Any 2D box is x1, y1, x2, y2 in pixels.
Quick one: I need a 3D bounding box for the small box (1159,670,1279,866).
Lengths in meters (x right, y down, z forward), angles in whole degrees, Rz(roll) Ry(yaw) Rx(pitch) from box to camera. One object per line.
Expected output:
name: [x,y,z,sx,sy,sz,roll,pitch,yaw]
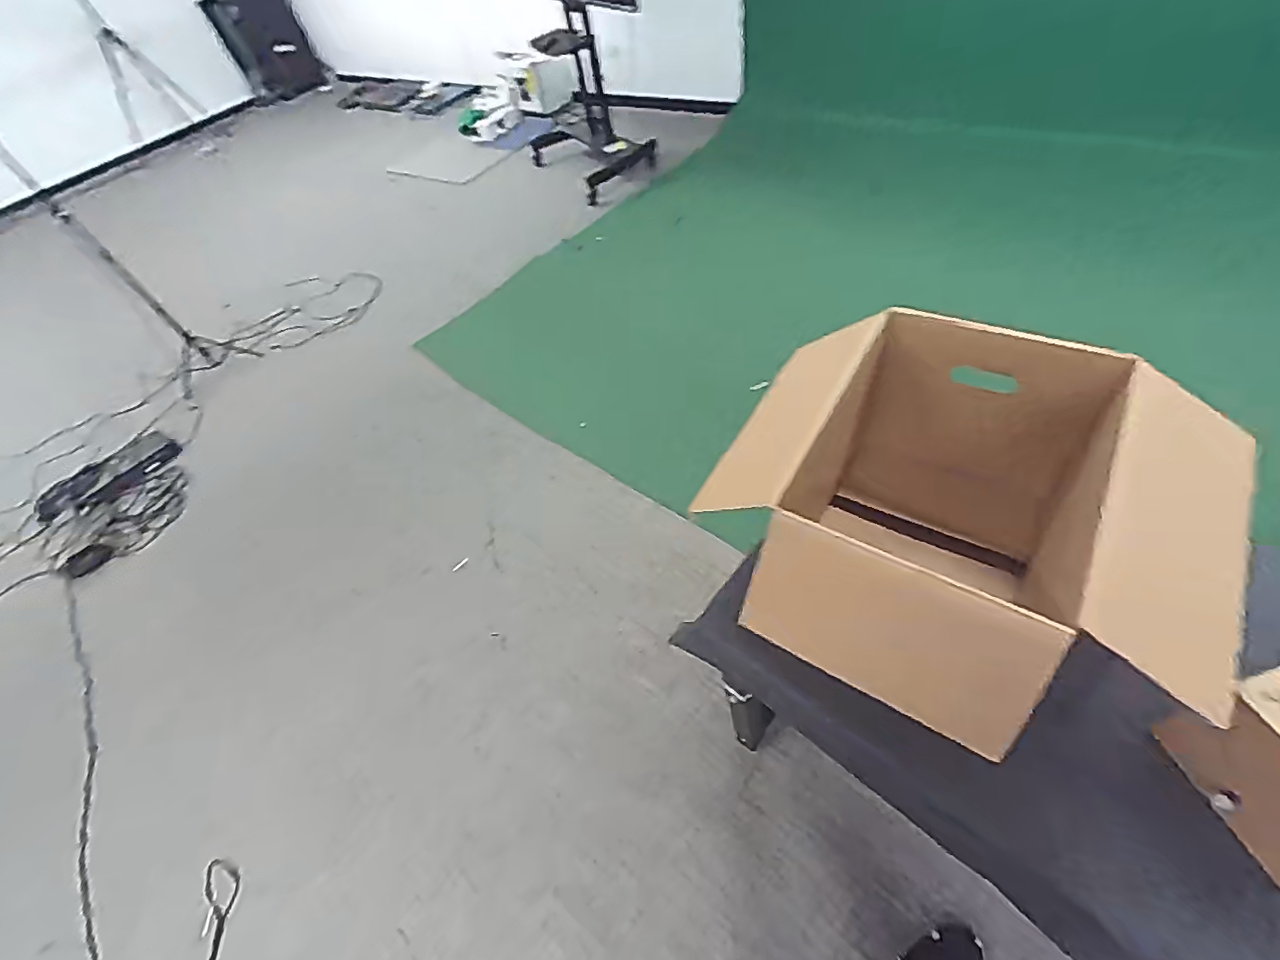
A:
small box: [0.729,0.299,0.568,0.168,0.176,0.179,-18,50,0]
